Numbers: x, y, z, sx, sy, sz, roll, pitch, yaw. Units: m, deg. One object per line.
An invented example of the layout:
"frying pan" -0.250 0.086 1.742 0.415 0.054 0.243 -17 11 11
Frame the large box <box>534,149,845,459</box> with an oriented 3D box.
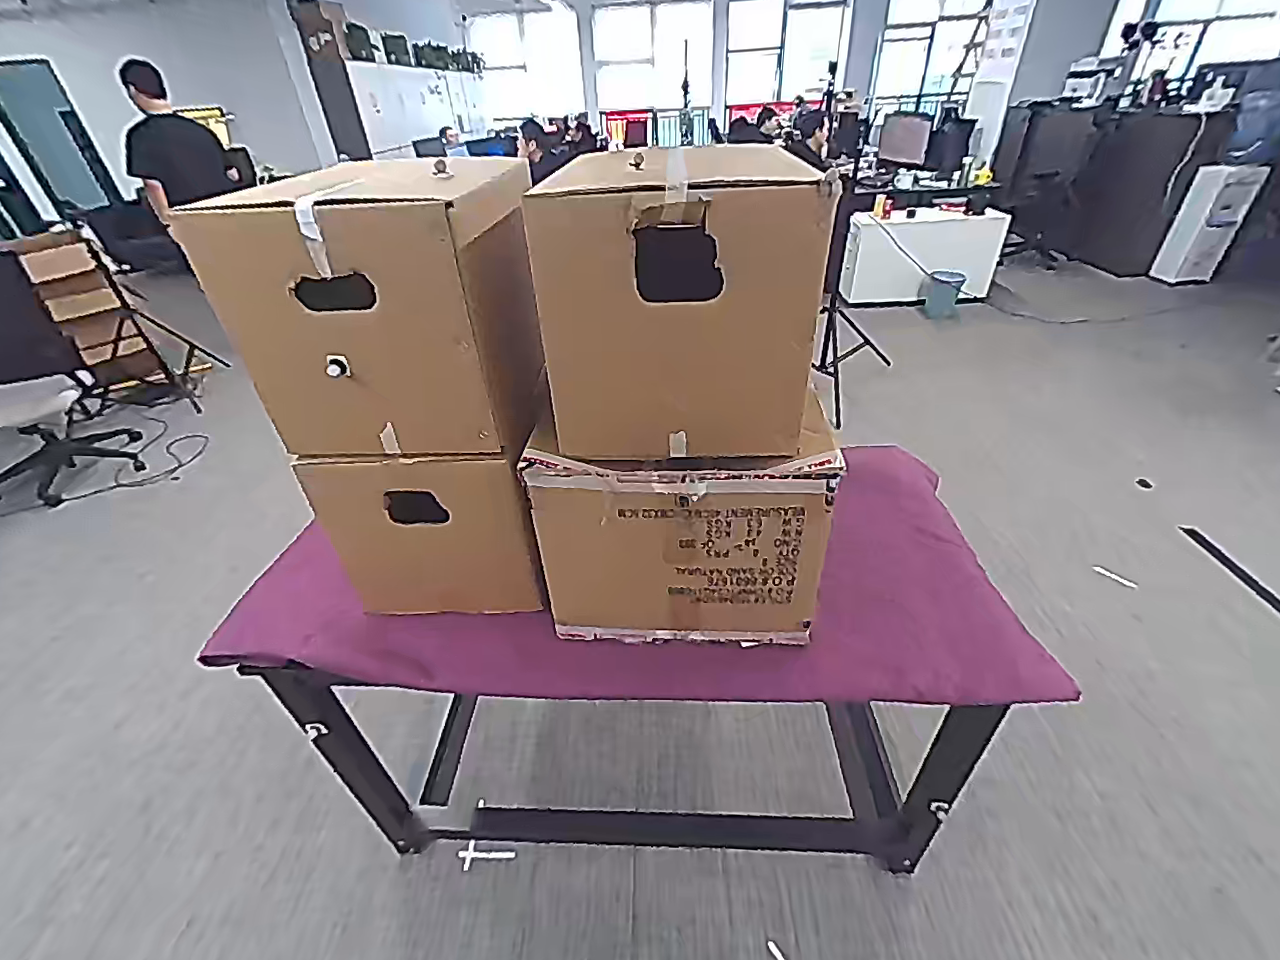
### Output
"large box" 0.058 -0.269 0.771 0.320 0.320 0.408 -2 36 4
